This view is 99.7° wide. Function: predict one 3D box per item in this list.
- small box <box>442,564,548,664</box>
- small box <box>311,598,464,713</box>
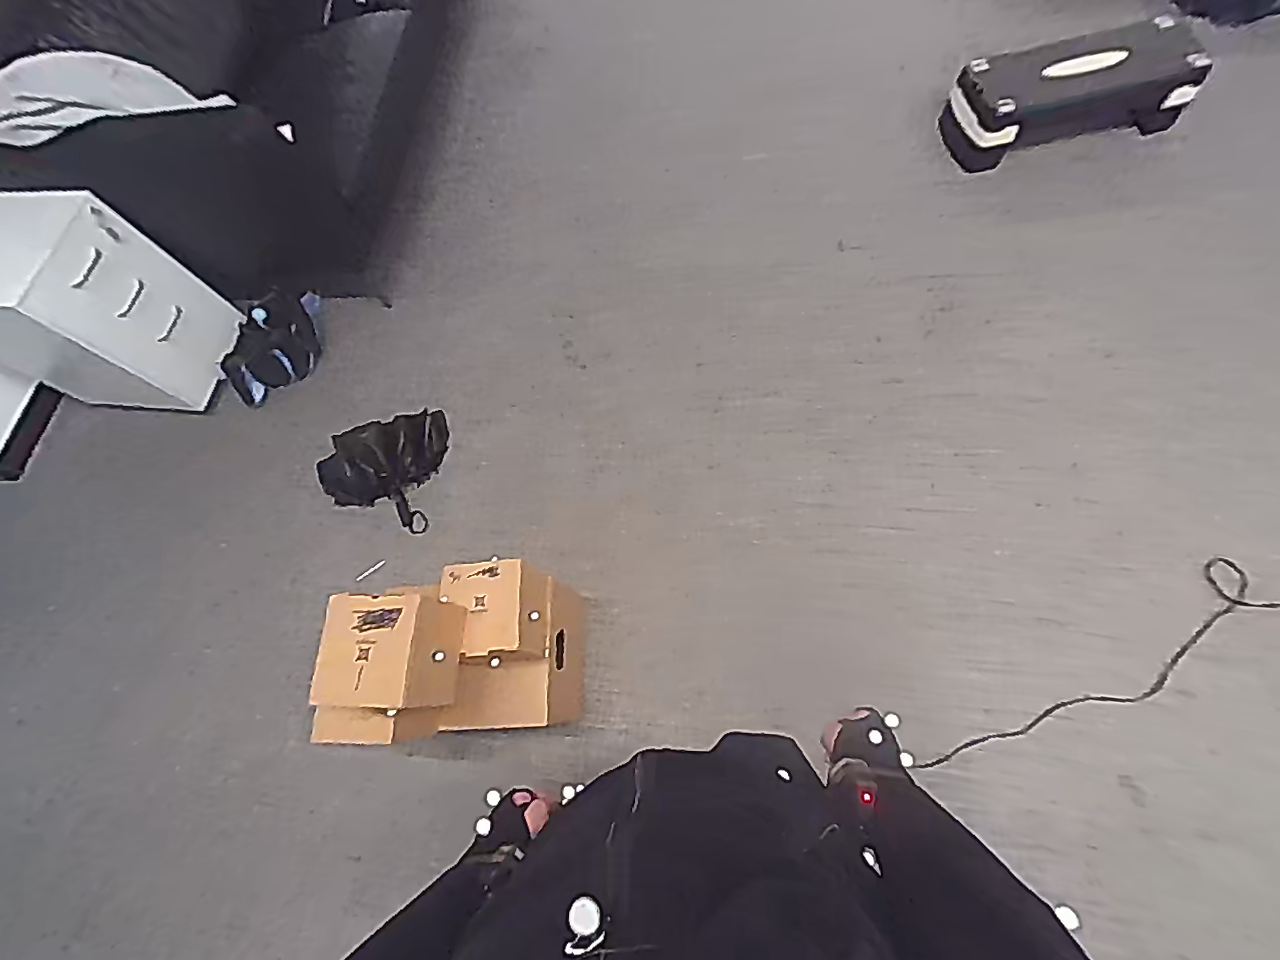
[{"bbox_3d":[-0.293,0.282,1.113,0.168,0.176,0.179,-7,67,7],"label":"small box"},{"bbox_3d":[-0.426,0.307,0.946,0.168,0.176,0.179,-2,70,10],"label":"small box"}]
